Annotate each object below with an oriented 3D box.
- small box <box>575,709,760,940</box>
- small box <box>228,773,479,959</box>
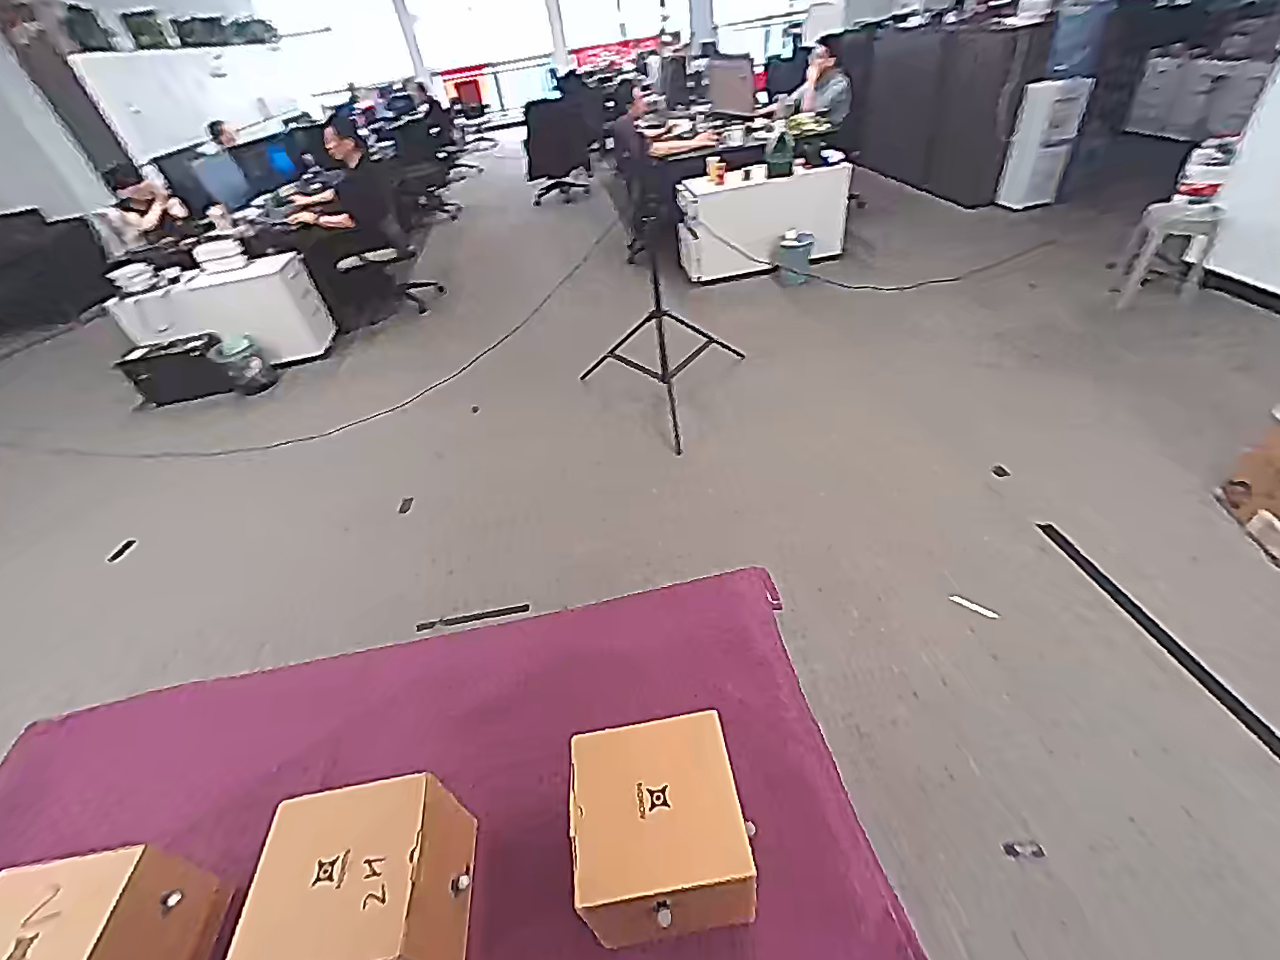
[{"bbox_3d":[0.029,0.393,0.617,0.179,0.176,0.168,-11,39,0],"label":"small box"},{"bbox_3d":[-0.299,0.460,0.605,0.179,0.176,0.168,-10,41,-1],"label":"small box"}]
